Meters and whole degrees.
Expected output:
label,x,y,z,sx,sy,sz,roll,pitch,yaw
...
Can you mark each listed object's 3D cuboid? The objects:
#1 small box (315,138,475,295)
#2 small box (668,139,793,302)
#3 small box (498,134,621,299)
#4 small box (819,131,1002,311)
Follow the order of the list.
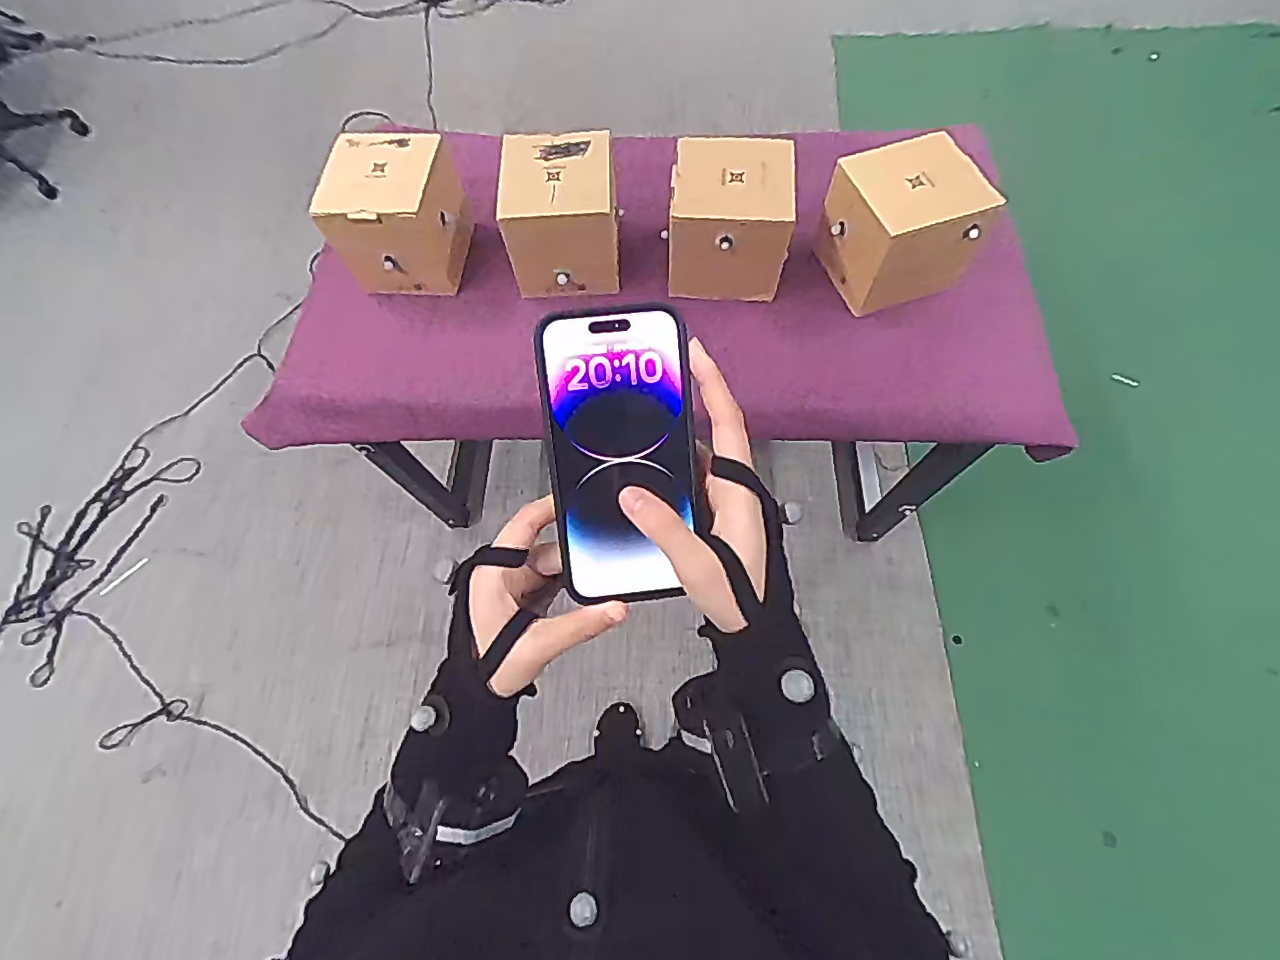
label,x,y,z,sx,sy,sz,roll,pitch,yaw
small box,-0.388,-0.426,0.892,0.168,0.176,0.179,2,68,4
small box,0.139,-0.404,0.857,0.179,0.176,0.168,5,68,5
small box,-0.120,-0.420,0.875,0.168,0.176,0.179,-3,67,2
small box,0.396,-0.390,0.836,0.179,0.176,0.168,-18,66,-5
